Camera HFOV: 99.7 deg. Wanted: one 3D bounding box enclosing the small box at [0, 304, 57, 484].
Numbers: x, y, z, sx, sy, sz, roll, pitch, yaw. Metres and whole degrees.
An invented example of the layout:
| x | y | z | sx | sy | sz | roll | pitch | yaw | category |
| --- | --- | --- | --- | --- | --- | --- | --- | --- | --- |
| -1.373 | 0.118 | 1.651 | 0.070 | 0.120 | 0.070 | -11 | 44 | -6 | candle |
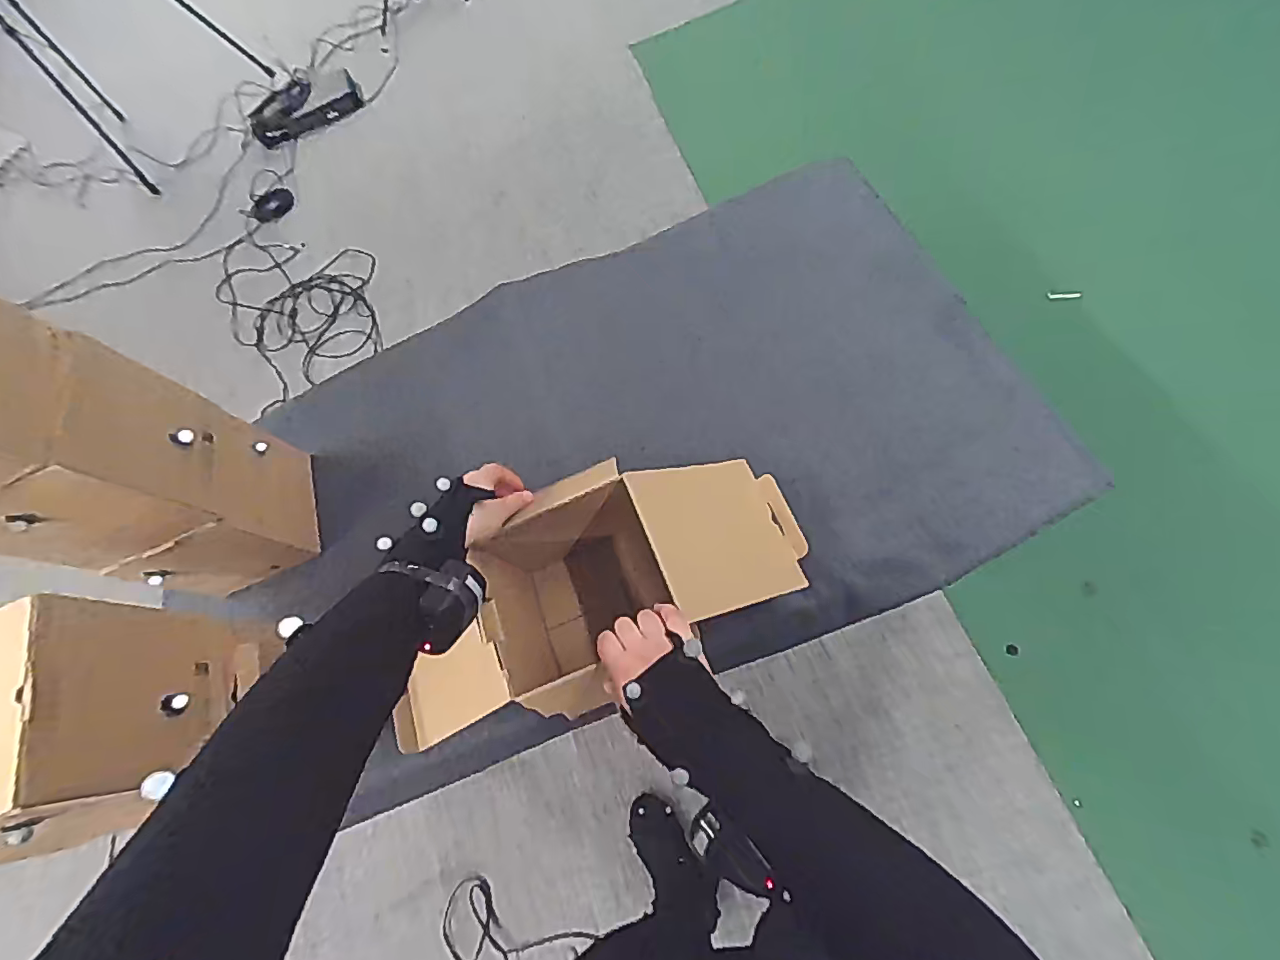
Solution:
| x | y | z | sx | sy | sz | roll | pitch | yaw | category |
| --- | --- | --- | --- | --- | --- | --- | --- | --- | --- |
| -0.641 | -0.078 | 0.443 | 0.168 | 0.176 | 0.179 | -26 | 66 | 1 | small box |

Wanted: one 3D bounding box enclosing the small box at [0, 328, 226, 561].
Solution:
| x | y | z | sx | sy | sz | roll | pitch | yaw | category |
| --- | --- | --- | --- | --- | --- | --- | --- | --- | --- |
| -0.603 | -0.026 | 0.591 | 0.179 | 0.176 | 0.168 | -22 | 68 | 3 | small box |

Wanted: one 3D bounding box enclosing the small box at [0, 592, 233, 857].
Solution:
| x | y | z | sx | sy | sz | roll | pitch | yaw | category |
| --- | --- | --- | --- | --- | --- | --- | --- | --- | --- |
| -0.515 | 0.222 | 0.484 | 0.179 | 0.176 | 0.168 | -25 | 67 | 2 | small box |
